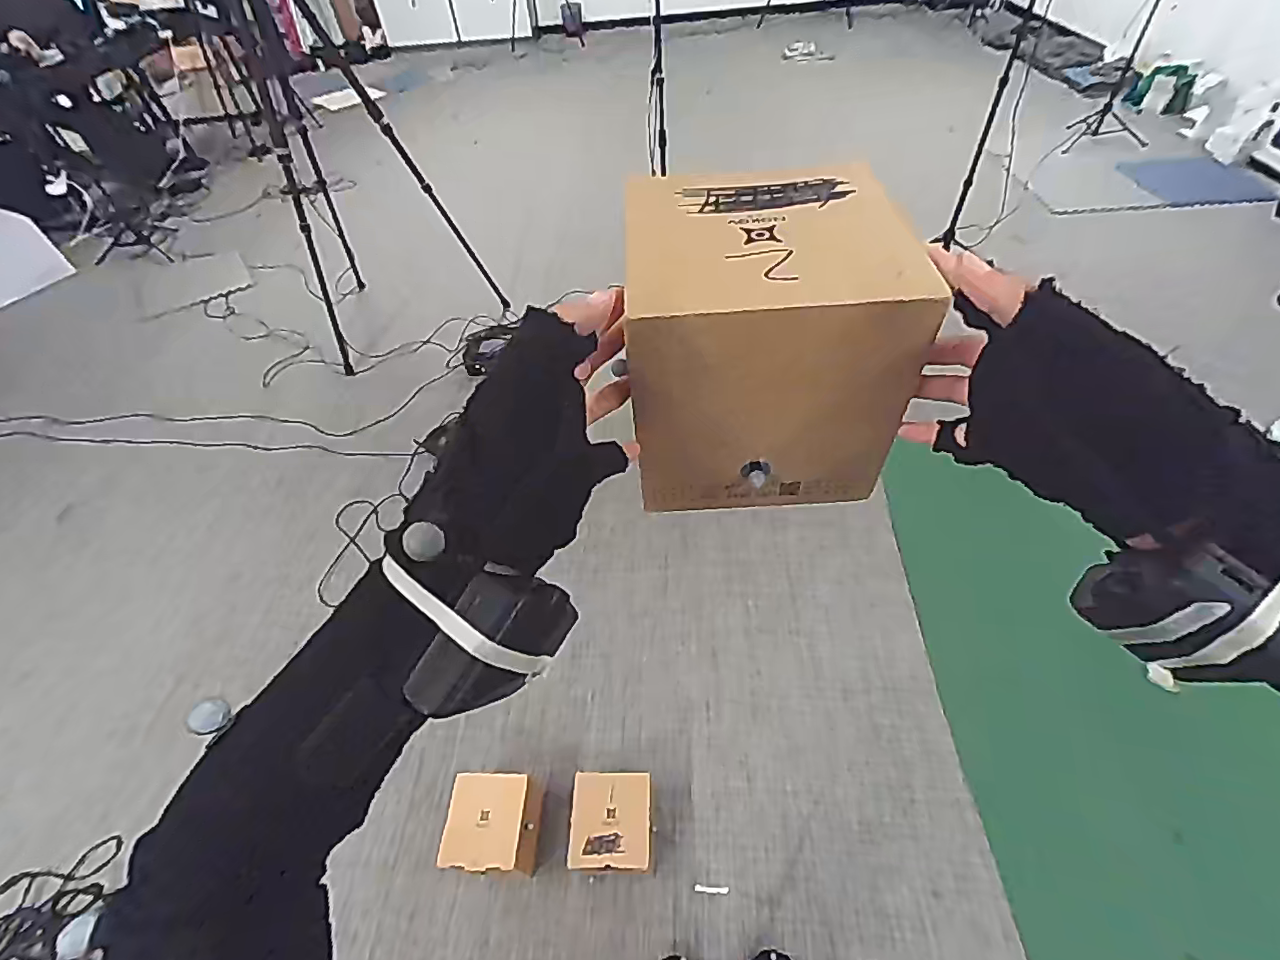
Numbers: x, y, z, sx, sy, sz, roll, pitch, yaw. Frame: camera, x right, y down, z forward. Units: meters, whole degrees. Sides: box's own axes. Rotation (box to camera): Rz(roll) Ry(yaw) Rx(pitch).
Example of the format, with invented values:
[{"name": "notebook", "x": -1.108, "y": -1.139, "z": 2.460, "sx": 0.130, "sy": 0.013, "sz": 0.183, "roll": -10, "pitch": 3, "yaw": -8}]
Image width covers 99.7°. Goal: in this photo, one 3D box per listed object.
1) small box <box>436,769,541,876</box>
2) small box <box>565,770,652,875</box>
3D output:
[{"name": "small box", "x": -0.326, "y": 0.767, "z": 1.210, "sx": 0.168, "sy": 0.176, "sz": 0.179, "roll": -2, "pitch": 49, "yaw": 5}, {"name": "small box", "x": -0.061, "y": 0.756, "z": 1.190, "sx": 0.168, "sy": 0.176, "sz": 0.179, "roll": -2, "pitch": 48, "yaw": 4}]
